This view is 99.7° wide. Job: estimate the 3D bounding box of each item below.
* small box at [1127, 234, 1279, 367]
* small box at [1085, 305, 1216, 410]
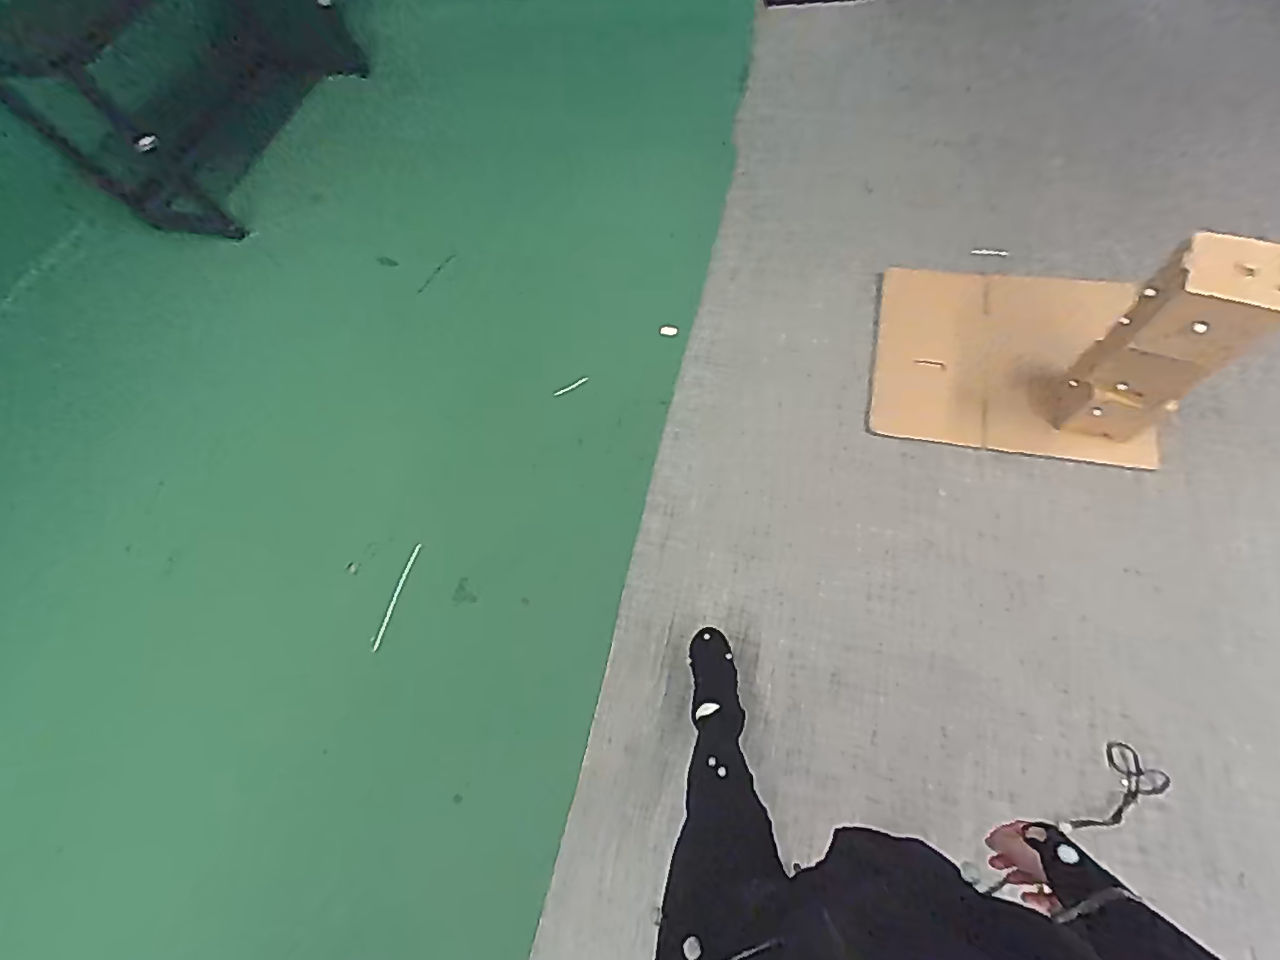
[{"bbox_3d":[1.130,-0.352,1.079,0.179,0.176,0.168,21,71,18],"label":"small box"},{"bbox_3d":[1.168,-0.295,1.228,0.168,0.176,0.179,30,74,20],"label":"small box"}]
